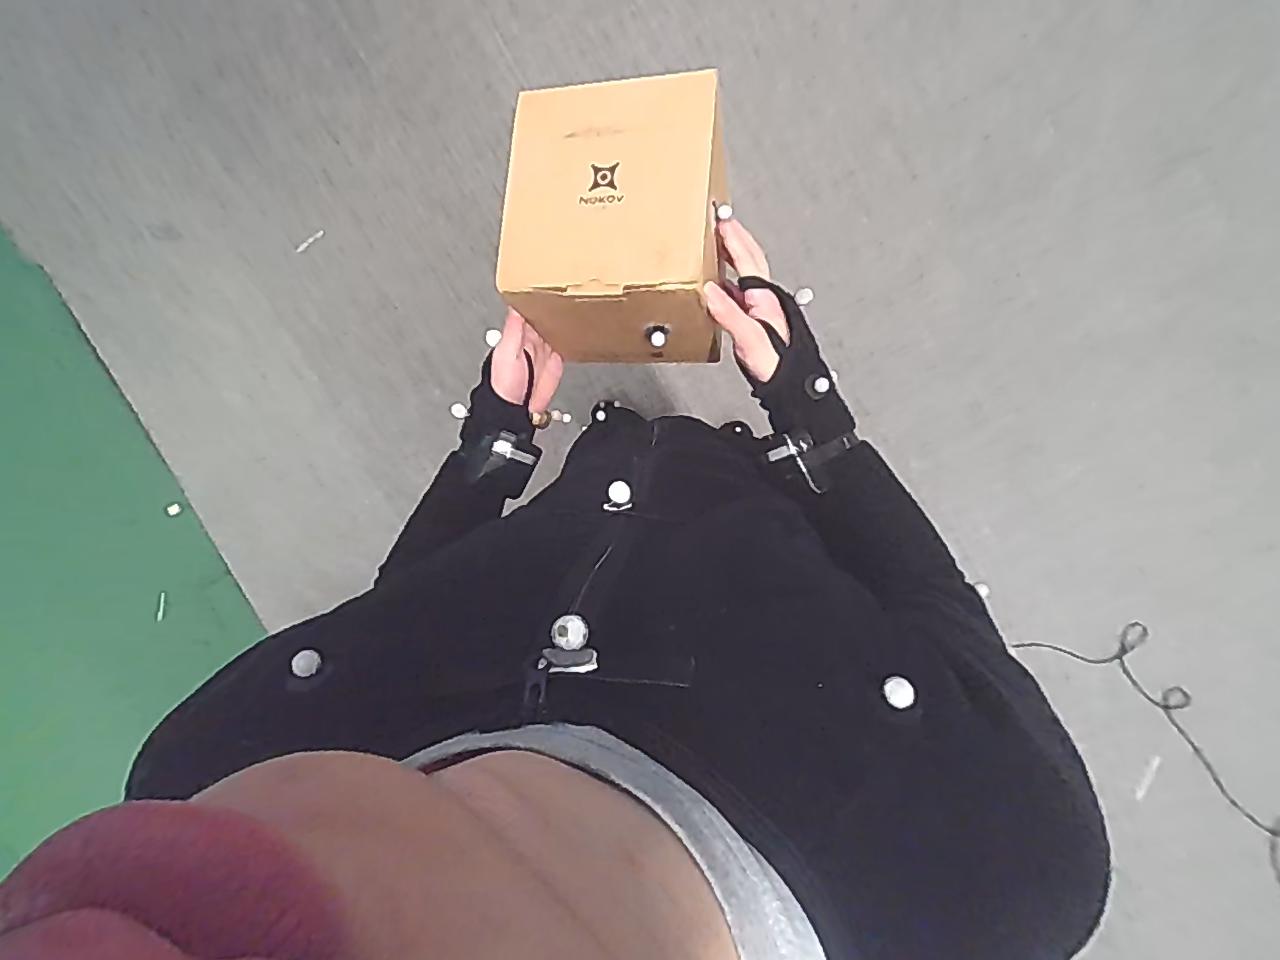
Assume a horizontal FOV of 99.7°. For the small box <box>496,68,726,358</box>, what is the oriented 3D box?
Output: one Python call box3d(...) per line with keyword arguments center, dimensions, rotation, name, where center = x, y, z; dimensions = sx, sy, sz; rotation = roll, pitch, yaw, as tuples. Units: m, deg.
box3d(center=(-0.011, -0.220, 0.495), dimensions=(0.168, 0.176, 0.179), rotation=(3, 82, 12), name="small box")
